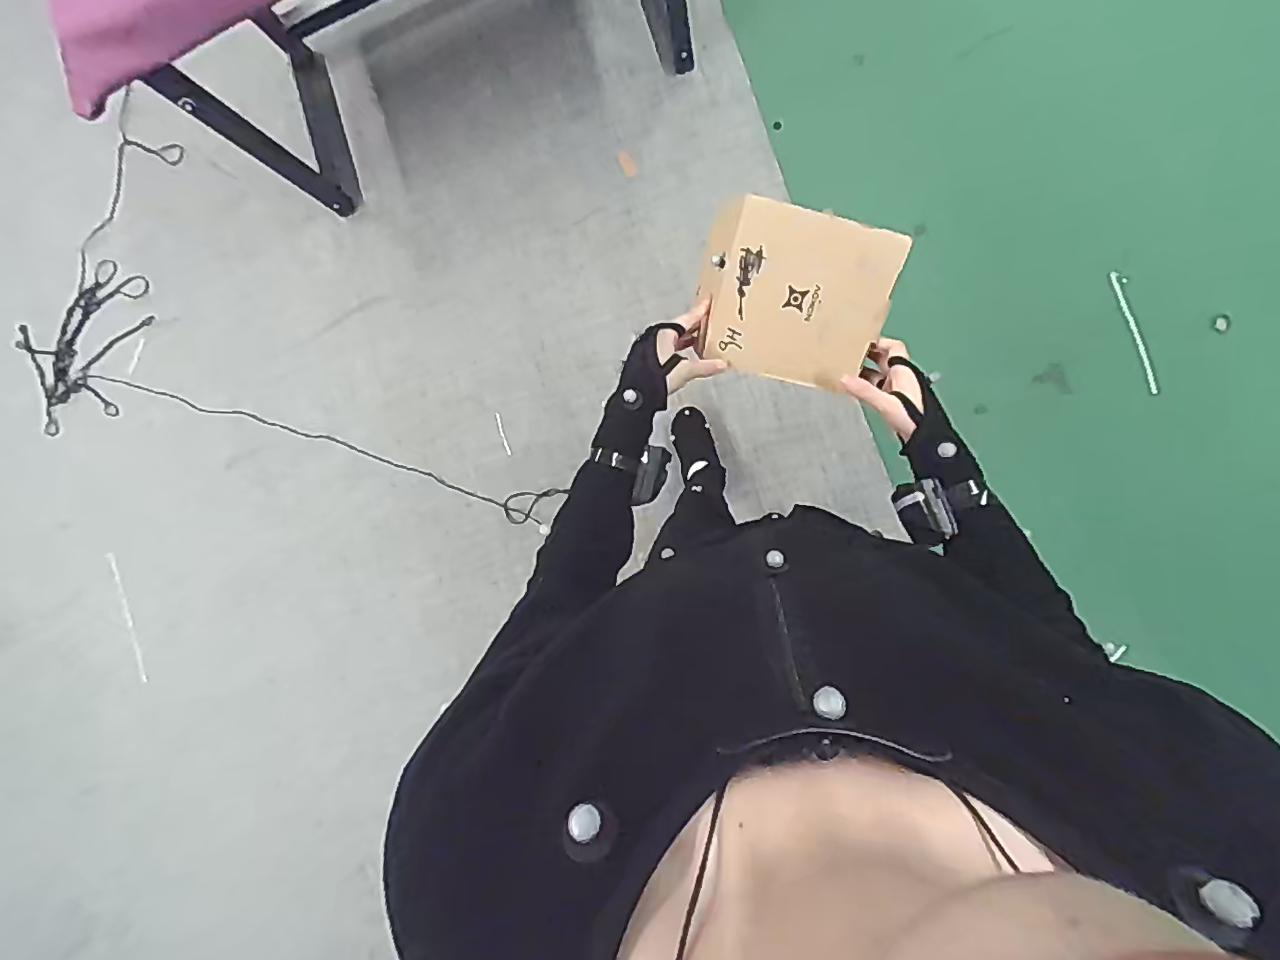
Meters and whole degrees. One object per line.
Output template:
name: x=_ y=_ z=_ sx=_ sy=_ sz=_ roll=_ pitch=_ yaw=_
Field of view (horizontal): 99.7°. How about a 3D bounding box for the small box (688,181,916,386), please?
small box: x=0.163 y=-0.222 z=0.612 sx=0.179 sy=0.176 sz=0.168 roll=12 pitch=113 yaw=-5
